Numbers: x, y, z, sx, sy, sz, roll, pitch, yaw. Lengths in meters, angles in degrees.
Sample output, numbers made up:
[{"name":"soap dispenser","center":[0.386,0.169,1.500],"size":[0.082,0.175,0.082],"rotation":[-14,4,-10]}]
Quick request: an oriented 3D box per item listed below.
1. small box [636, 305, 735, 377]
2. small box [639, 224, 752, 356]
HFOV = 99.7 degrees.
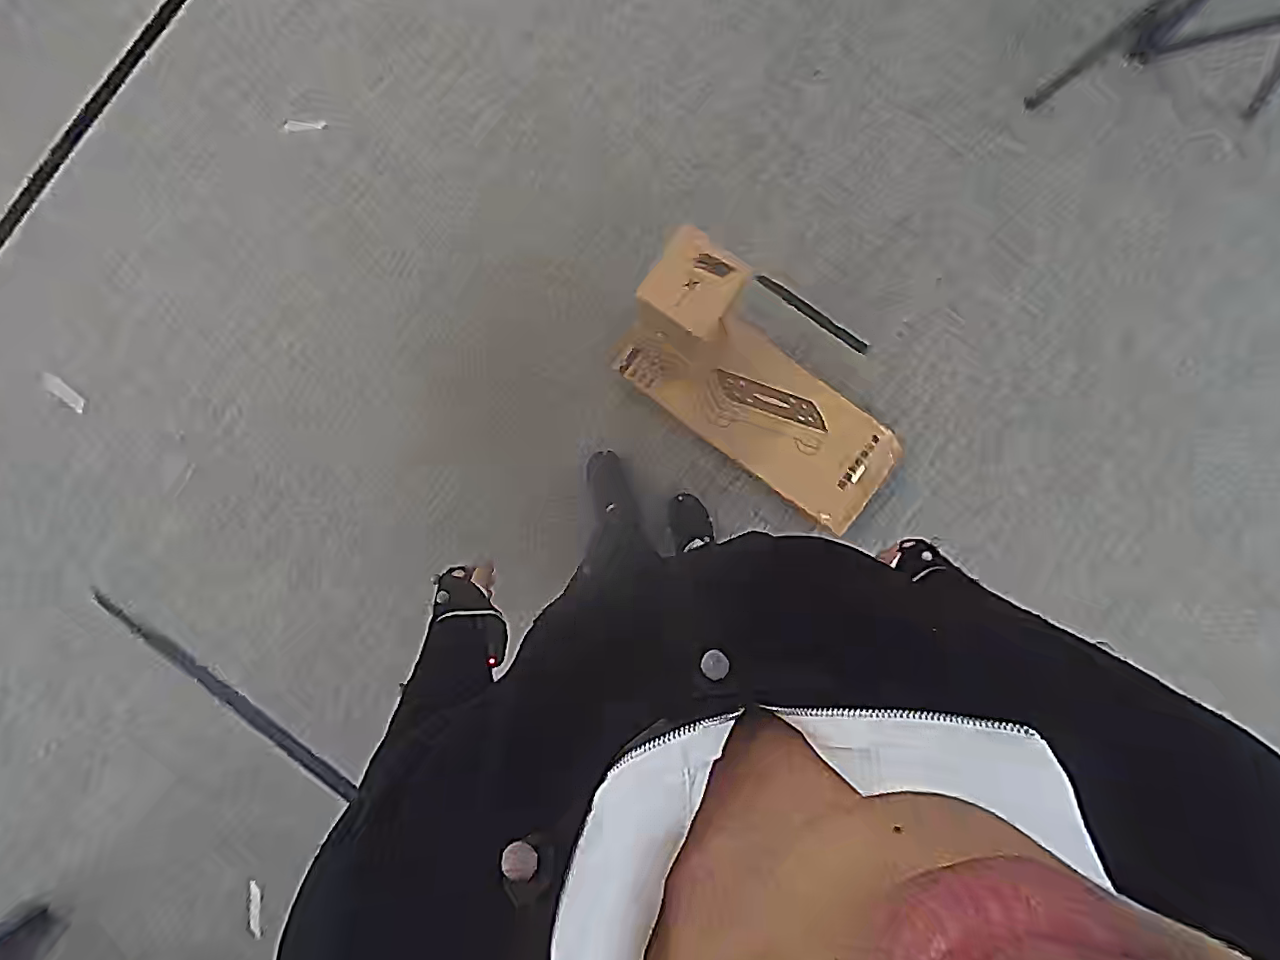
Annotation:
[{"name":"small box","center":[0.102,-0.378,1.314],"size":[0.168,0.176,0.179],"rotation":[37,90,1]},{"name":"small box","center":[0.109,-0.394,1.150],"size":[0.168,0.176,0.179],"rotation":[35,90,1]}]
